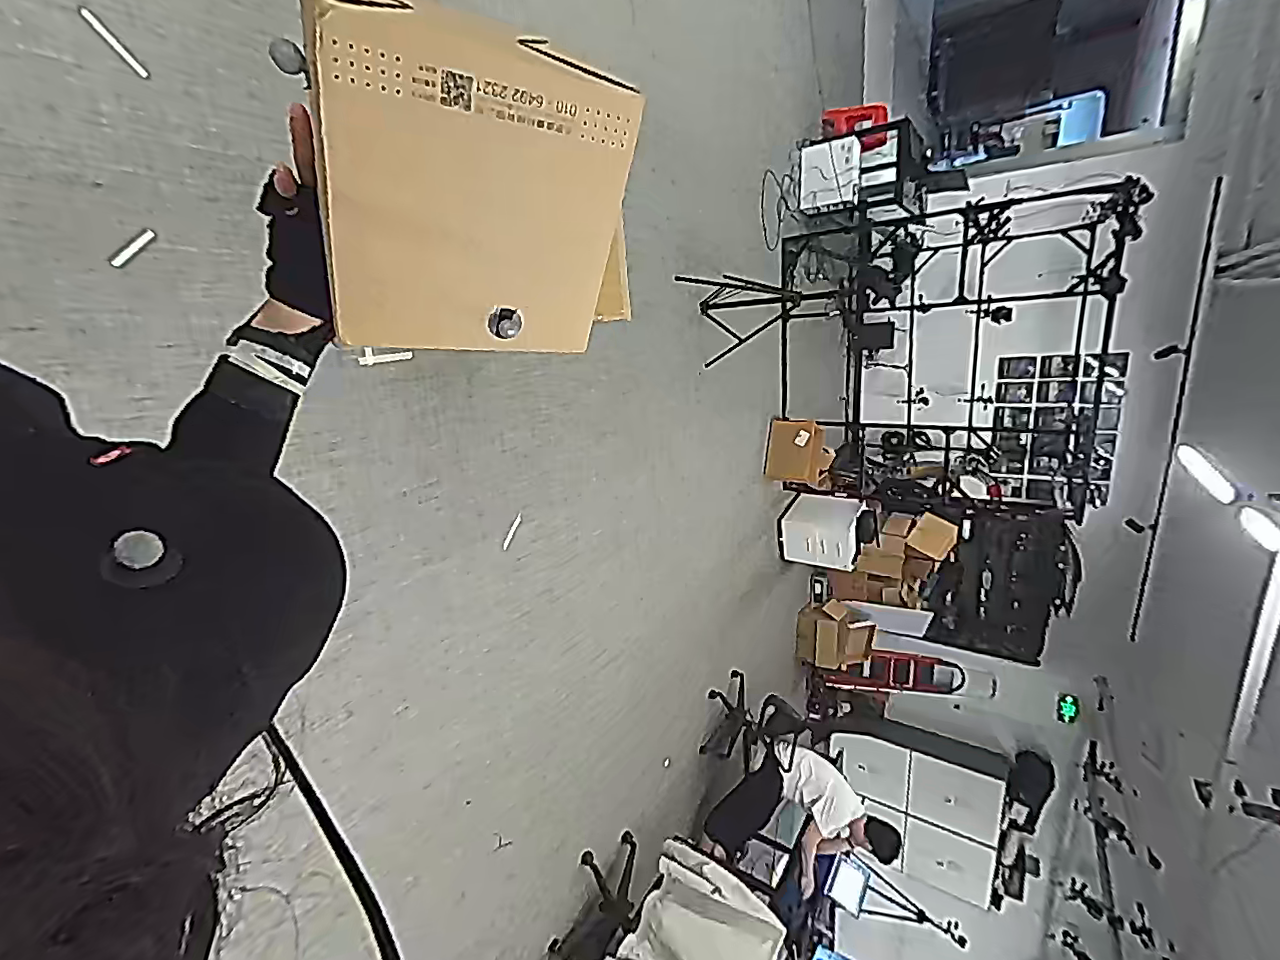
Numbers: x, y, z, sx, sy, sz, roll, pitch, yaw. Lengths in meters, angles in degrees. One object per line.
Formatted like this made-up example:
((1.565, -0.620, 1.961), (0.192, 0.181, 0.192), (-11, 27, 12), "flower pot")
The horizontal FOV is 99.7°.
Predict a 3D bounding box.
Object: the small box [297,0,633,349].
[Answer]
((-0.122, -0.209, 0.358), (0.168, 0.179, 0.176), (-5, 137, -29), "small box")
